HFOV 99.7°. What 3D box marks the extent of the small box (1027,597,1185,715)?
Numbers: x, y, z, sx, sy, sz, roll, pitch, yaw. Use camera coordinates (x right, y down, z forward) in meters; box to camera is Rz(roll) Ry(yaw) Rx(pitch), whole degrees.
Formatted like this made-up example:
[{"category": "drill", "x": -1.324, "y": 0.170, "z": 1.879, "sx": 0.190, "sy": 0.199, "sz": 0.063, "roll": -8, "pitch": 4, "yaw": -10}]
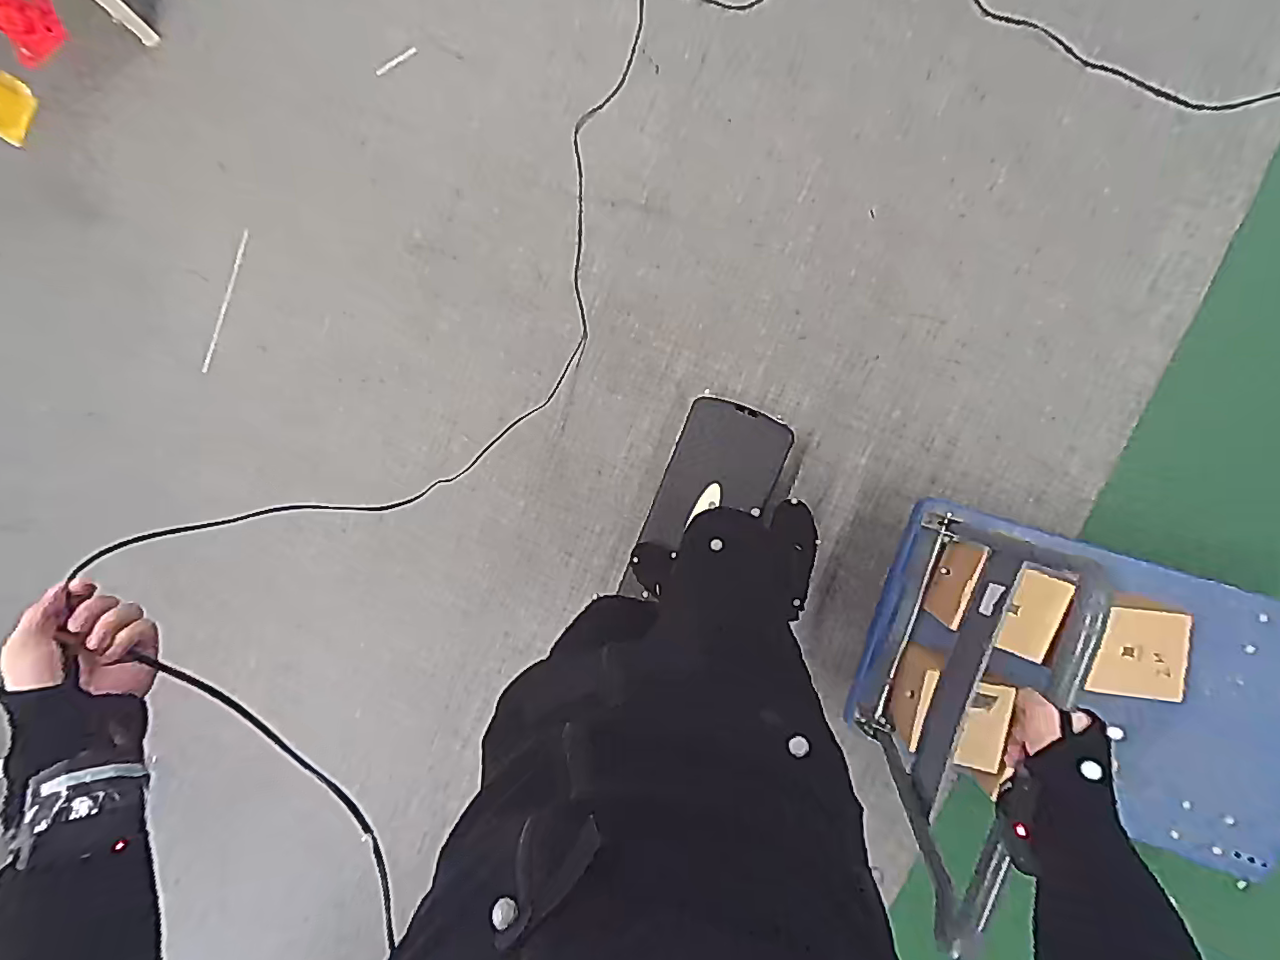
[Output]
[{"category": "small box", "x": 0.910, "y": 0.338, "z": 1.075, "sx": 0.179, "sy": 0.176, "sz": 0.168, "roll": 6, "pitch": 93, "yaw": 11}]
